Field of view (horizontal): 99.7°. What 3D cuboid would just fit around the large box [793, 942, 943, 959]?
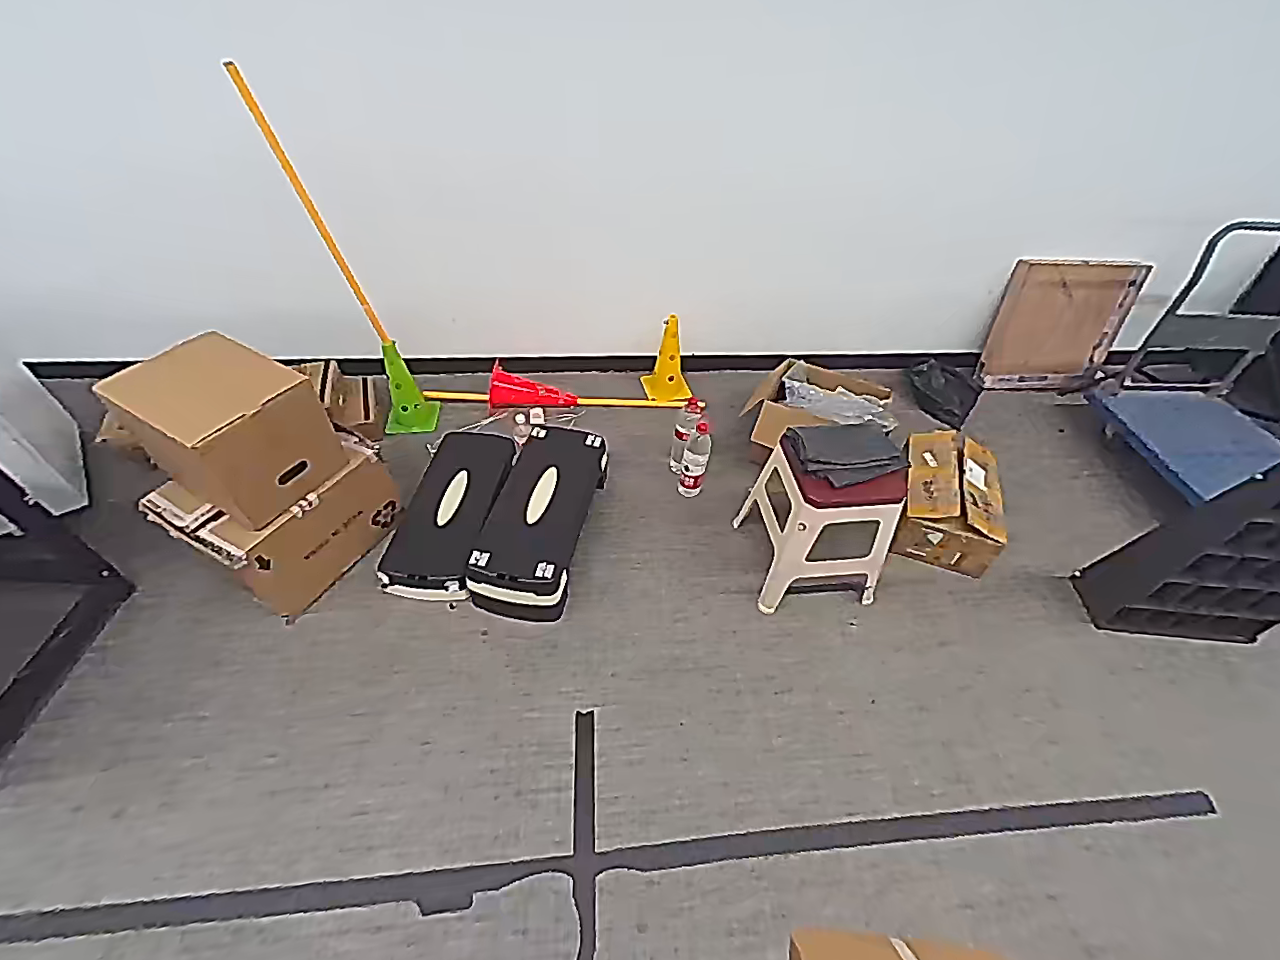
[{"bbox_3d":[0.365,0.814,0.582,0.320,0.408,0.320,6,79,1],"label":"large box"}]
